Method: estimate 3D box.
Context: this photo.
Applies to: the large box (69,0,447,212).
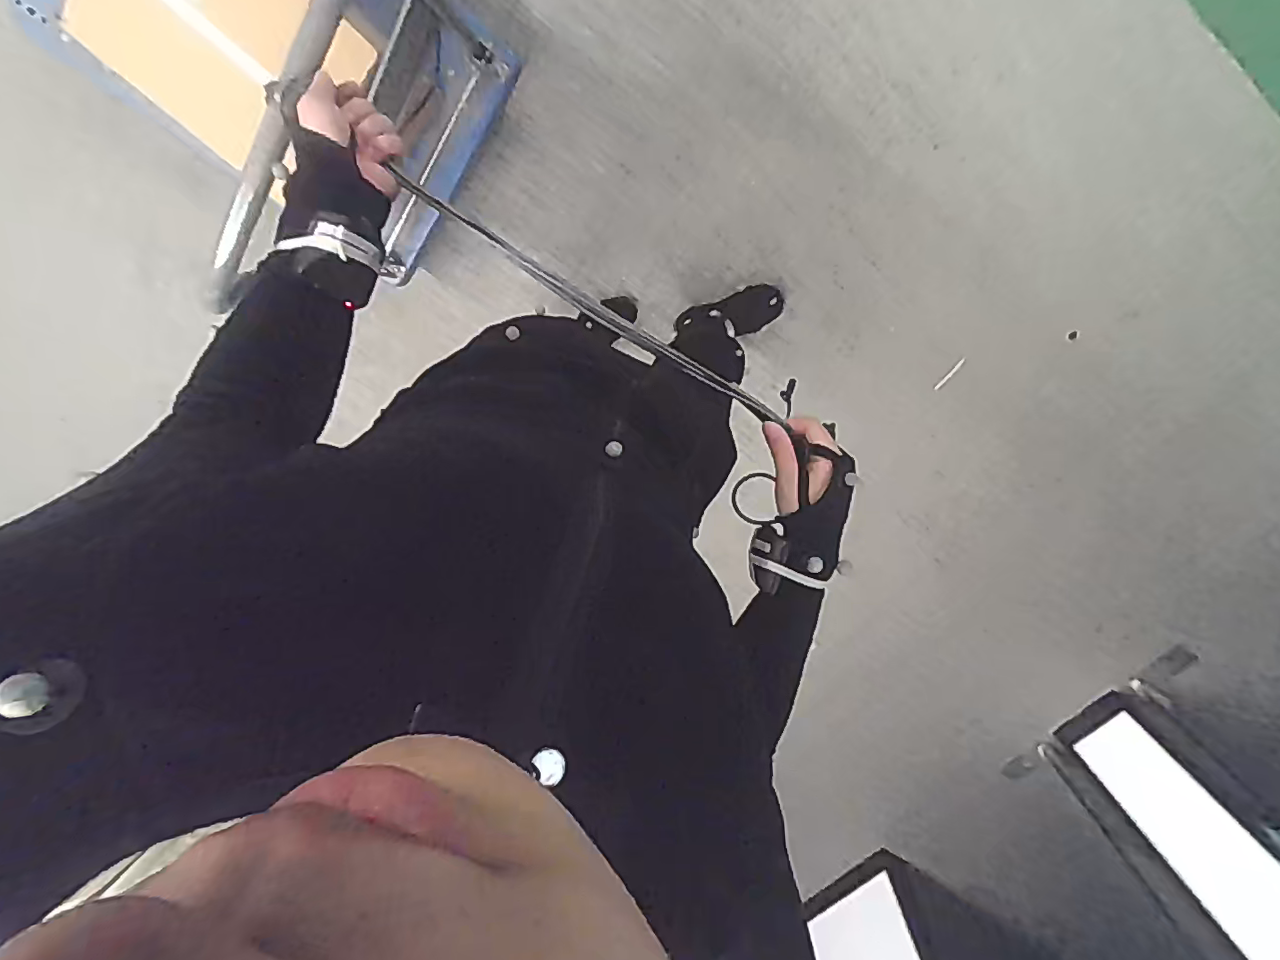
[{"bbox_3d":[-0.643,-0.754,0.981,0.408,0.320,0.320,40,110,-16],"label":"large box"}]
